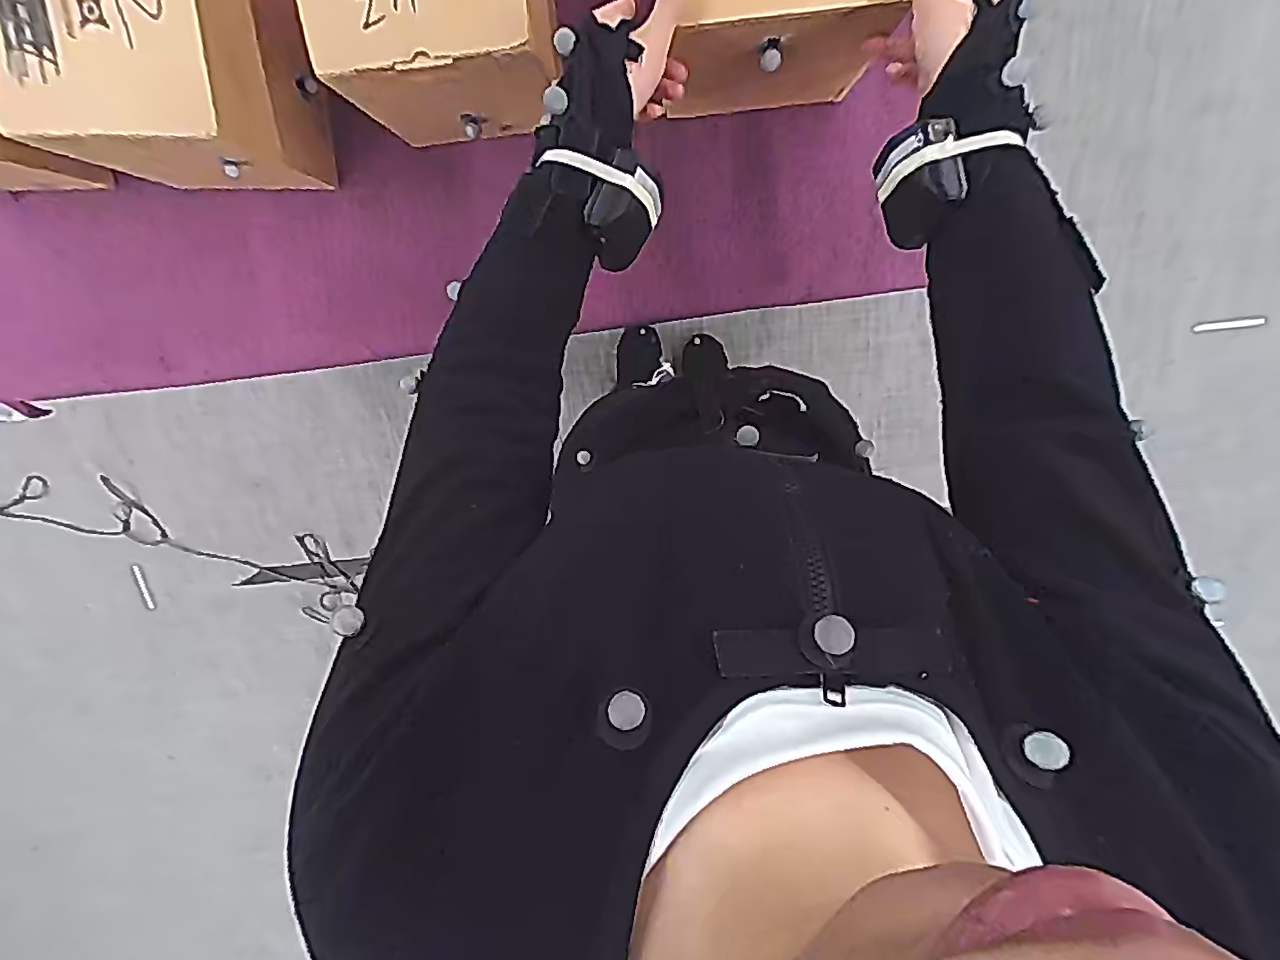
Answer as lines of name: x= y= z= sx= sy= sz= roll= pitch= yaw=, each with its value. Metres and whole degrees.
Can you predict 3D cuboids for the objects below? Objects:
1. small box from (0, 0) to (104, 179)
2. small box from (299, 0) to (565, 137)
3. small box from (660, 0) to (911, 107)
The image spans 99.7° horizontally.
small box: x=-0.639 y=-0.374 z=0.473 sx=0.168 sy=0.176 sz=0.179 roll=-1 pitch=107 yaw=2
small box: x=-0.164 y=-0.416 z=0.446 sx=0.168 sy=0.176 sz=0.179 roll=-5 pitch=106 yaw=4
small box: x=0.104 y=-0.430 z=0.433 sx=0.179 sy=0.176 sz=0.168 roll=-4 pitch=105 yaw=4
